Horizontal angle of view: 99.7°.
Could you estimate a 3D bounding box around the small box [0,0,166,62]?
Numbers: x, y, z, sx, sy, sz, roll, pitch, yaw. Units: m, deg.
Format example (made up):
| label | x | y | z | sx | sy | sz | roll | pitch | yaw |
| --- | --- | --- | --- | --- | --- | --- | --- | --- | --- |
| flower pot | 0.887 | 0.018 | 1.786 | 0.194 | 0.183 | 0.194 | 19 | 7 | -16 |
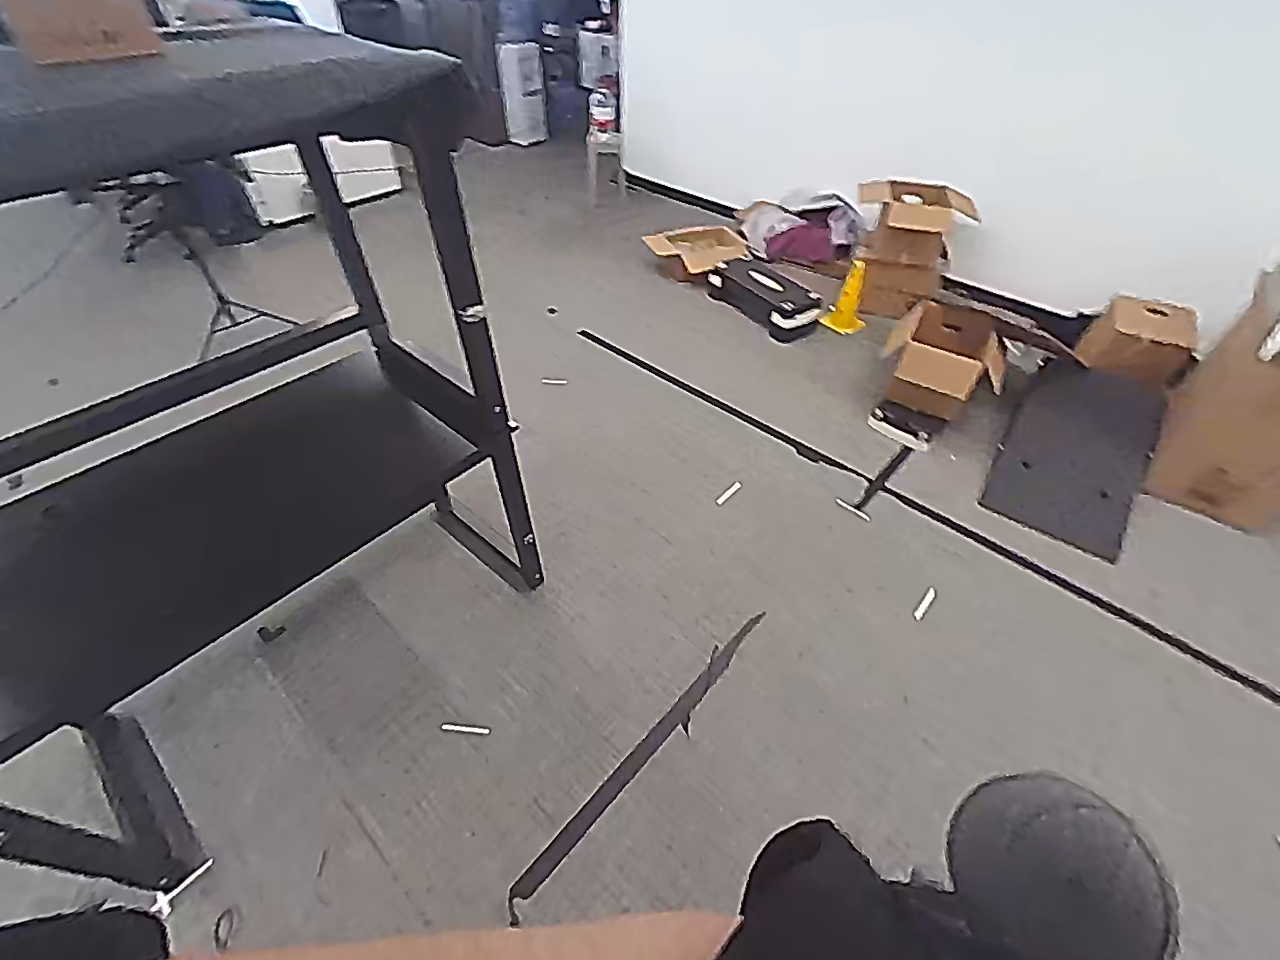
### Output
| label | x | y | z | sx | sy | sz | roll | pitch | yaw |
| --- | --- | --- | --- | --- | --- | --- | --- | --- | --- |
| small box | -0.854 | -0.736 | 0.800 | 0.168 | 0.176 | 0.179 | -32 | 55 | -29 |
